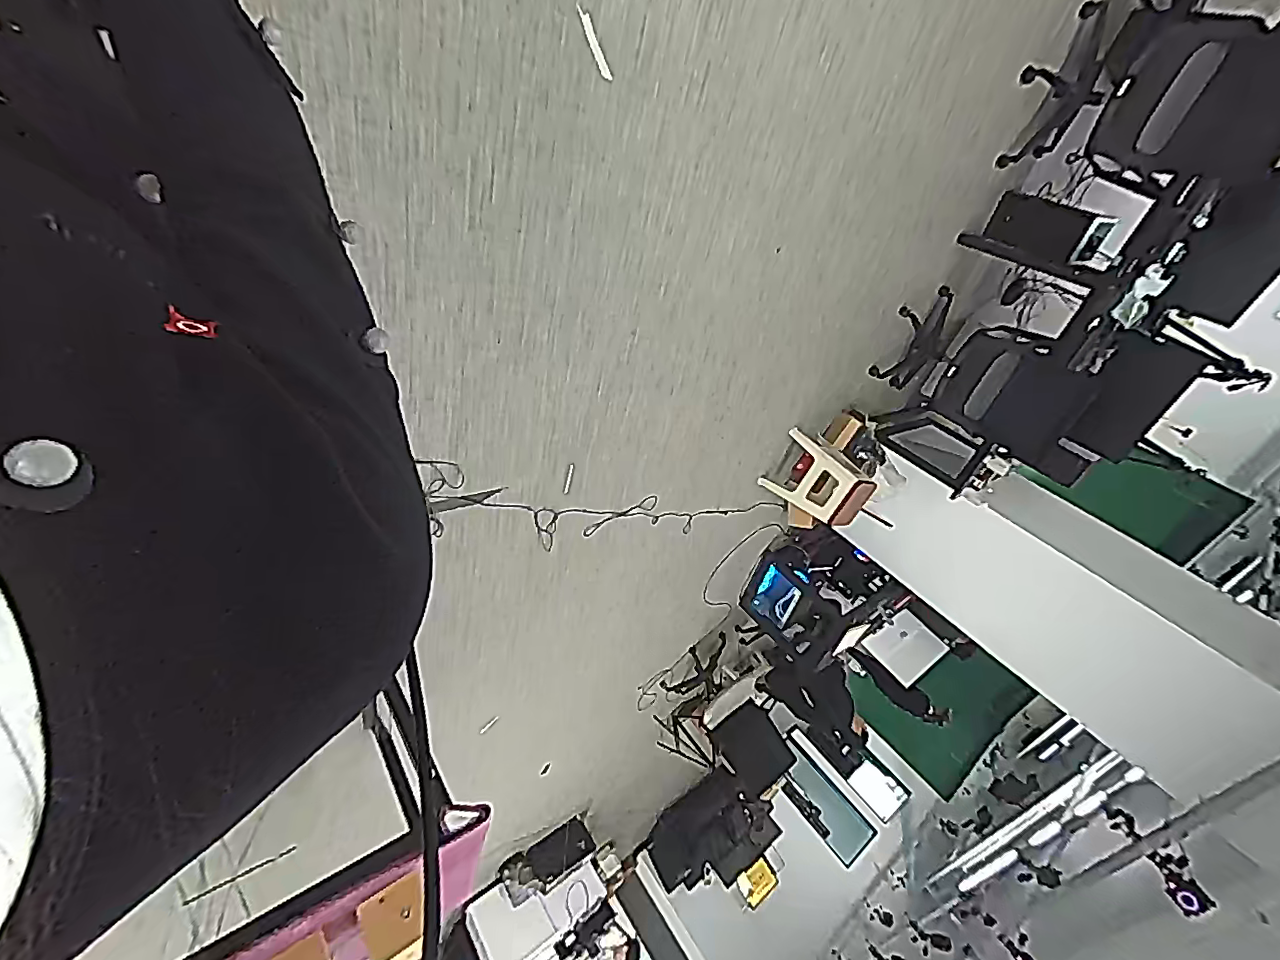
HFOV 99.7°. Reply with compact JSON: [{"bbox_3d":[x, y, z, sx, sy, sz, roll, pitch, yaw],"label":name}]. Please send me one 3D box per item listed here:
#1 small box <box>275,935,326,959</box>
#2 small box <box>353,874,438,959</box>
[{"bbox_3d":[-0.875,1.299,1.347,0.179,0.176,0.168,-17,137,-36],"label":"small box"},{"bbox_3d":[-0.680,1.249,1.506,0.168,0.176,0.179,-19,138,-34],"label":"small box"}]
